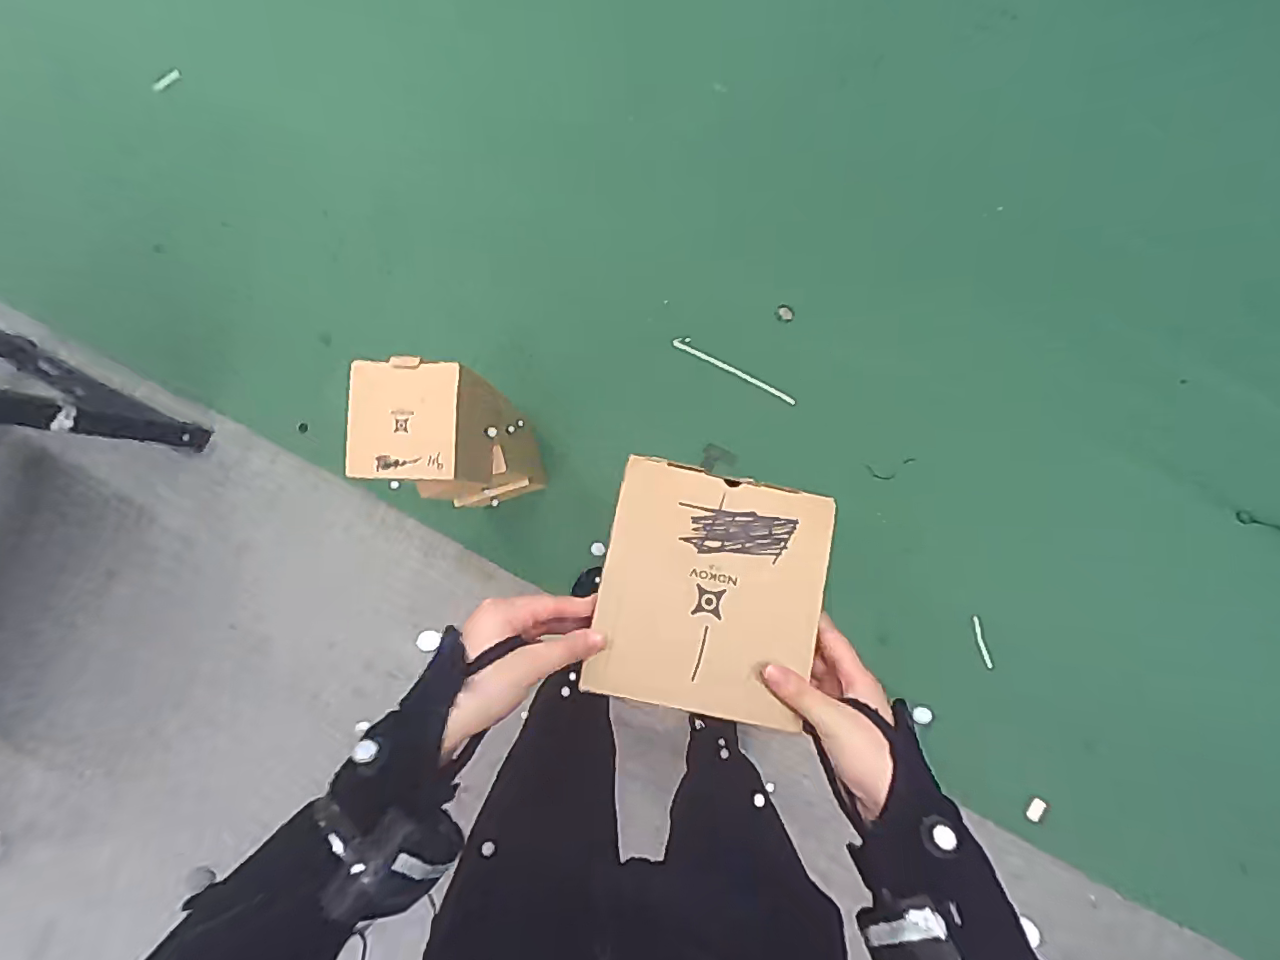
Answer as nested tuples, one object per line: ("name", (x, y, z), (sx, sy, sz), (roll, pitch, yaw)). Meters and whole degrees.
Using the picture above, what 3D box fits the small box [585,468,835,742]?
("small box", (0.050, 0.100, 0.479), (0.168, 0.176, 0.179), (11, 83, -1))

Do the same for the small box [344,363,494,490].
("small box", (-0.342, -0.078, 0.866), (0.168, 0.176, 0.179), (2, 87, 4))

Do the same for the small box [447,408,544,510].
("small box", (-0.325, -0.041, 1.192), (0.168, 0.176, 0.179), (-18, 86, 2))
